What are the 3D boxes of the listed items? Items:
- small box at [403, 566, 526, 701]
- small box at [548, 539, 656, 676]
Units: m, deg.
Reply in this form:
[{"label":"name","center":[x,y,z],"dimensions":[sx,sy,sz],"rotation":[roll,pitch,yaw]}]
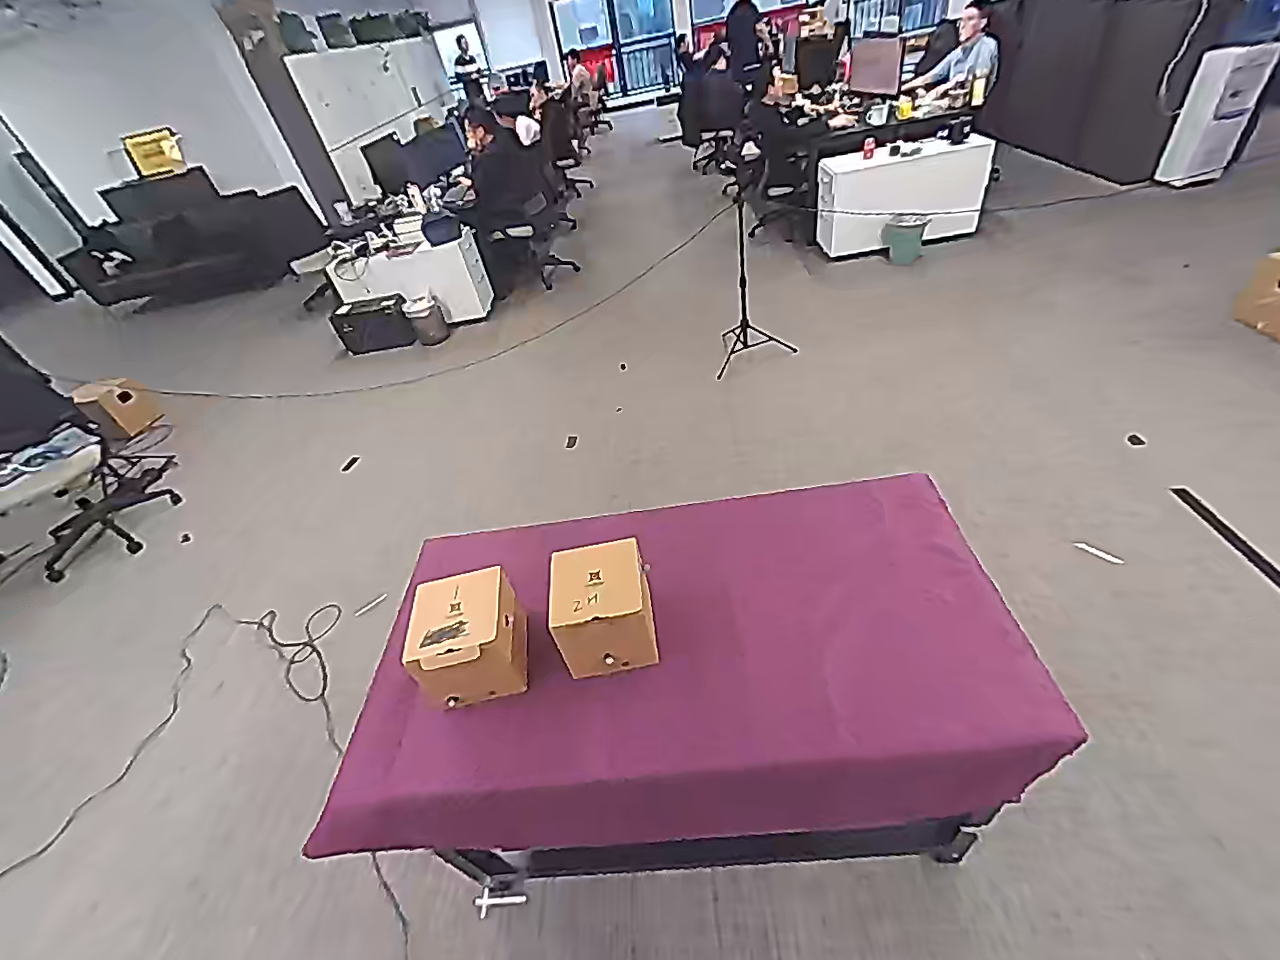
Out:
[{"label":"small box","center":[-0.319,0.297,1.024],"dimensions":[0.168,0.176,0.179],"rotation":[-13,40,-1]},{"label":"small box","center":[-0.068,0.241,1.023],"dimensions":[0.168,0.176,0.179],"rotation":[-11,41,3]}]
